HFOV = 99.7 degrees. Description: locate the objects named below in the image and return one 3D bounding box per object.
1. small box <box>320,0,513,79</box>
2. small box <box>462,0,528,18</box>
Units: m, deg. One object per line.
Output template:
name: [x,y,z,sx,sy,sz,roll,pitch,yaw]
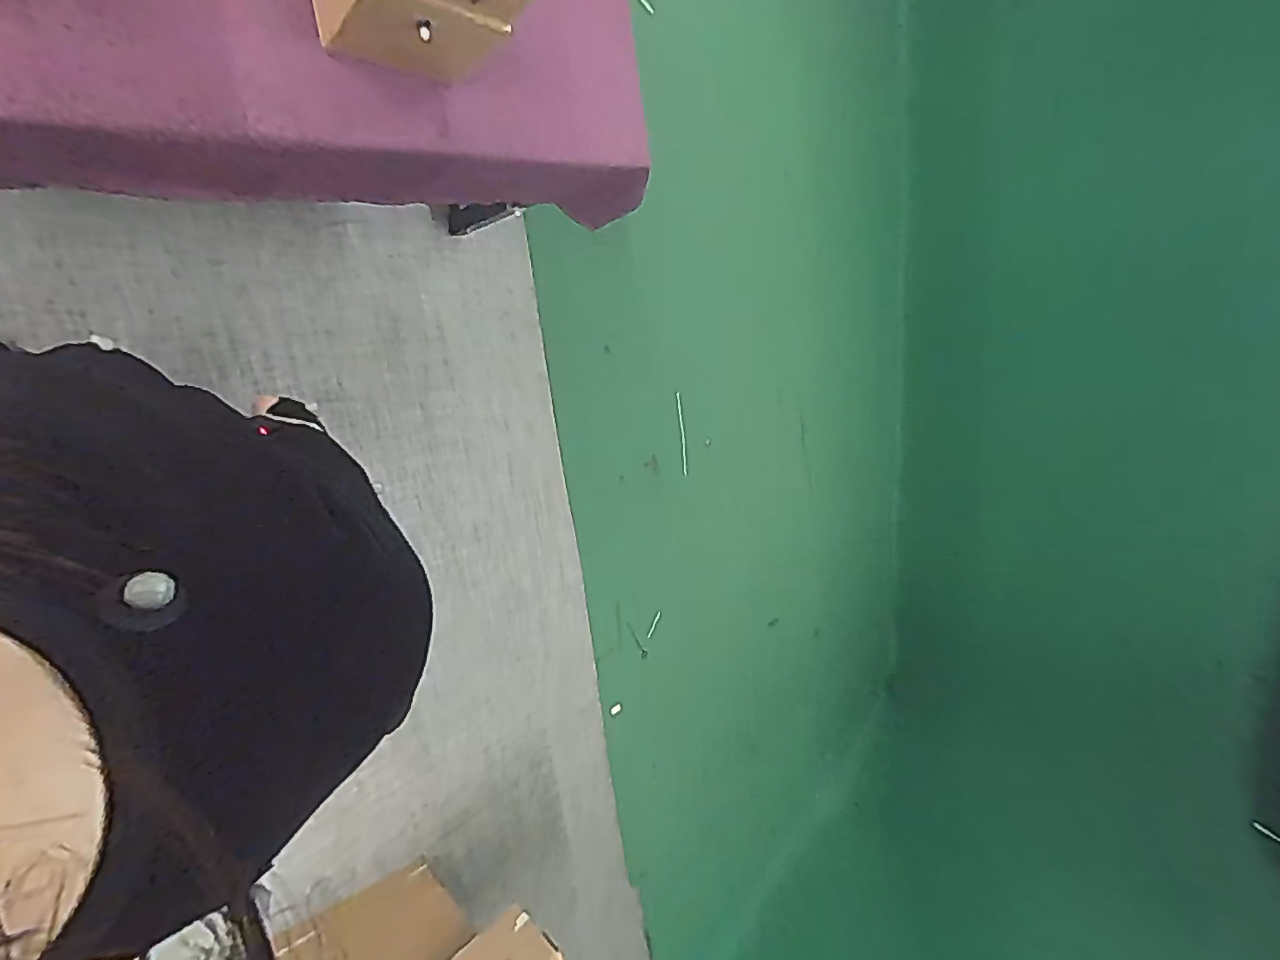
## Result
small box: [-0.281,-0.624,0.653,0.179,0.176,0.168,-18,109,-42]
small box: [-0.169,-0.615,0.535,0.168,0.176,0.179,-18,108,-42]
